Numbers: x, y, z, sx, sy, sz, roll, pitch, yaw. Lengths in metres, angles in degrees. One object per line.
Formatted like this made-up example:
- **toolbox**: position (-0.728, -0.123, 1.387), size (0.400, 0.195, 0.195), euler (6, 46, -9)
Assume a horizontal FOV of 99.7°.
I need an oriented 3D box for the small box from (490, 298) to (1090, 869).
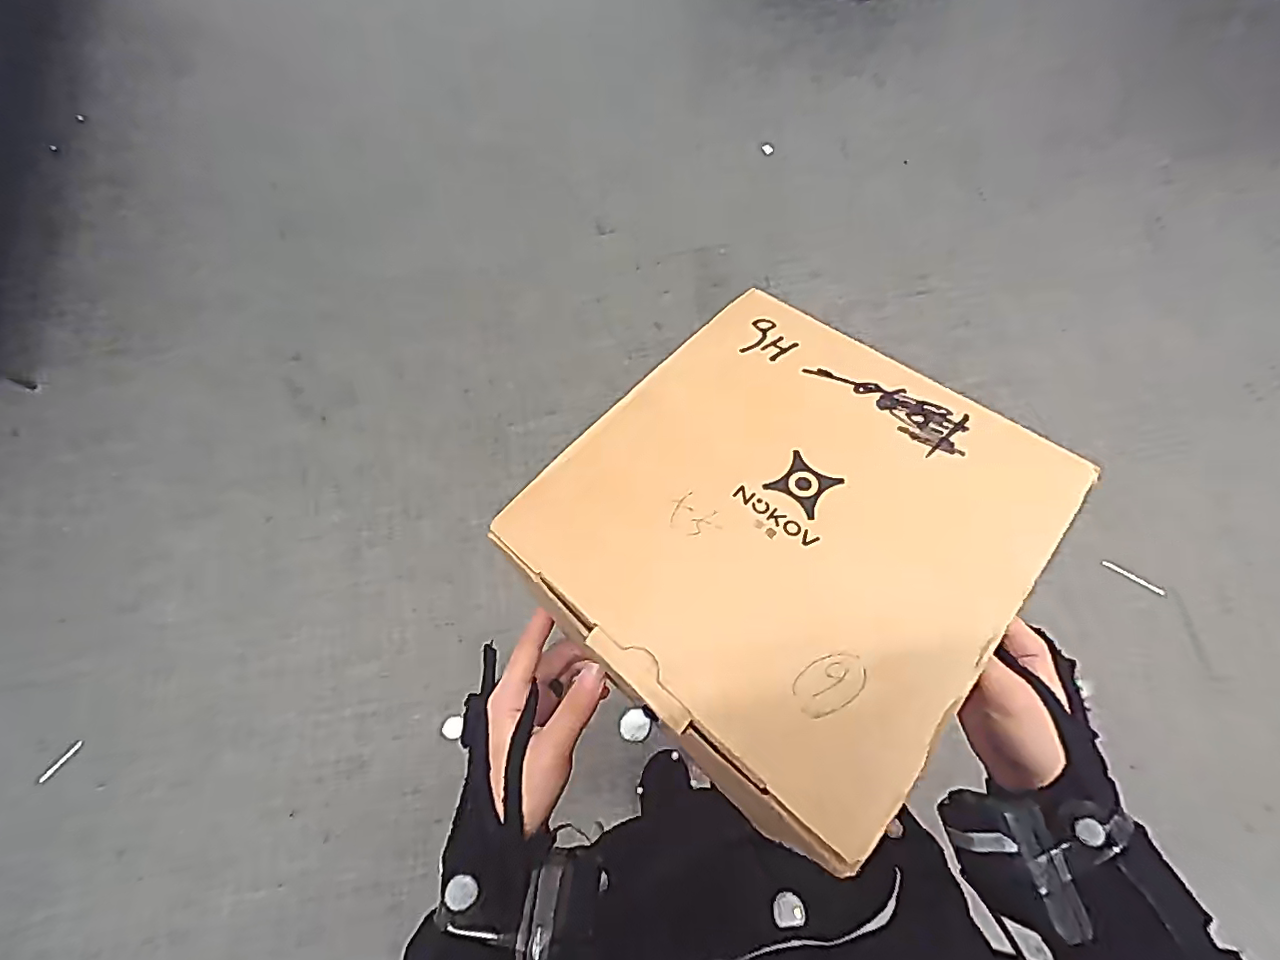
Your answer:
- **small box**: position (0.062, 0.051, 0.279), size (0.168, 0.176, 0.179), euler (37, 70, 24)
